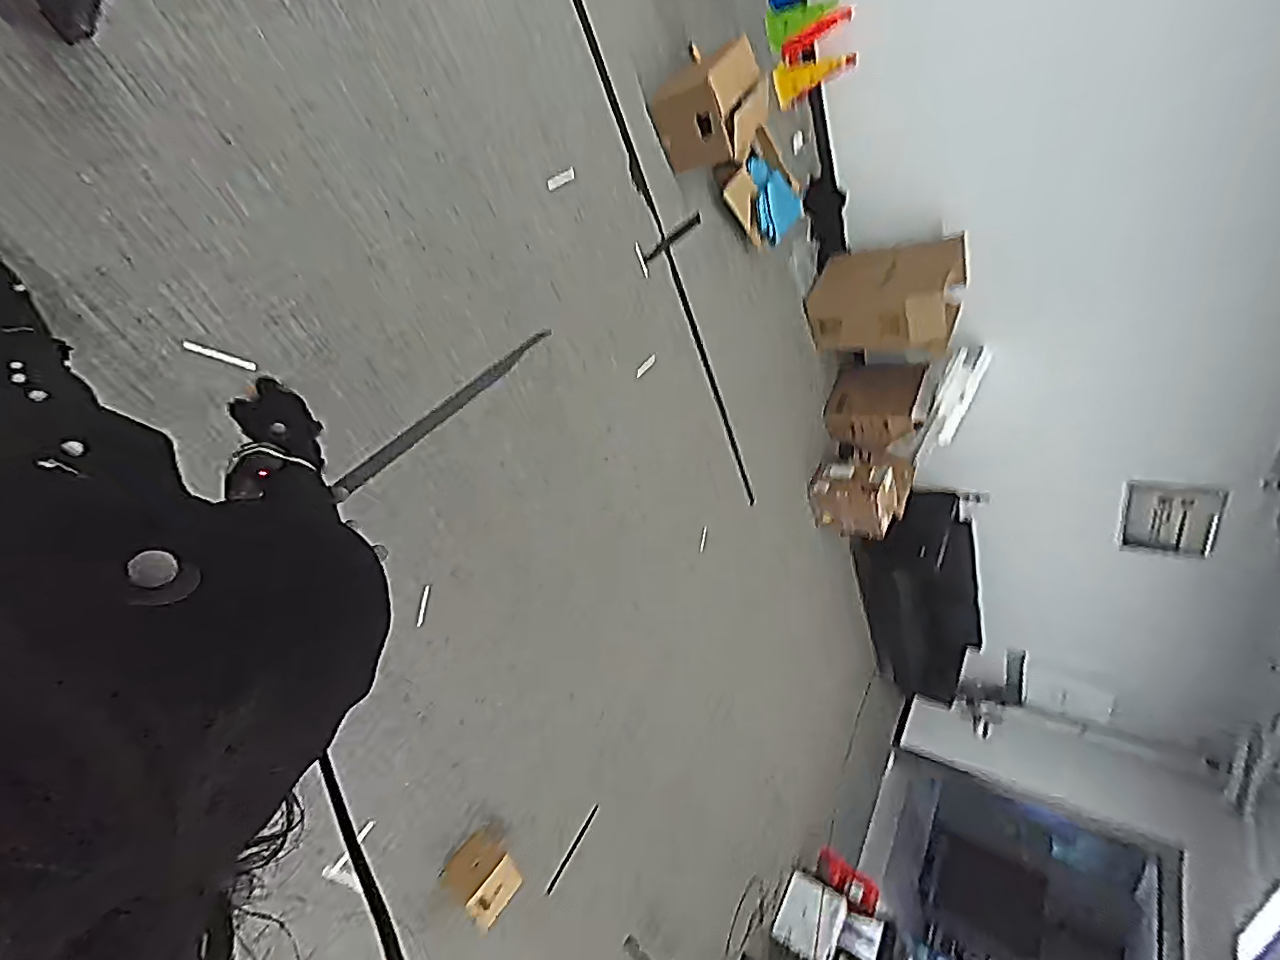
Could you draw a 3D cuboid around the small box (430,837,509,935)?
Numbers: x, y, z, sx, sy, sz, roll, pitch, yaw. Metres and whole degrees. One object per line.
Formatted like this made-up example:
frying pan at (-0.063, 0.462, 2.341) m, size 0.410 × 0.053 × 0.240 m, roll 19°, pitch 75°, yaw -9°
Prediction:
small box at (-0.584, 1.368, 1.832) m, size 0.179 × 0.176 × 0.168 m, roll -40°, pitch 125°, yaw -42°
